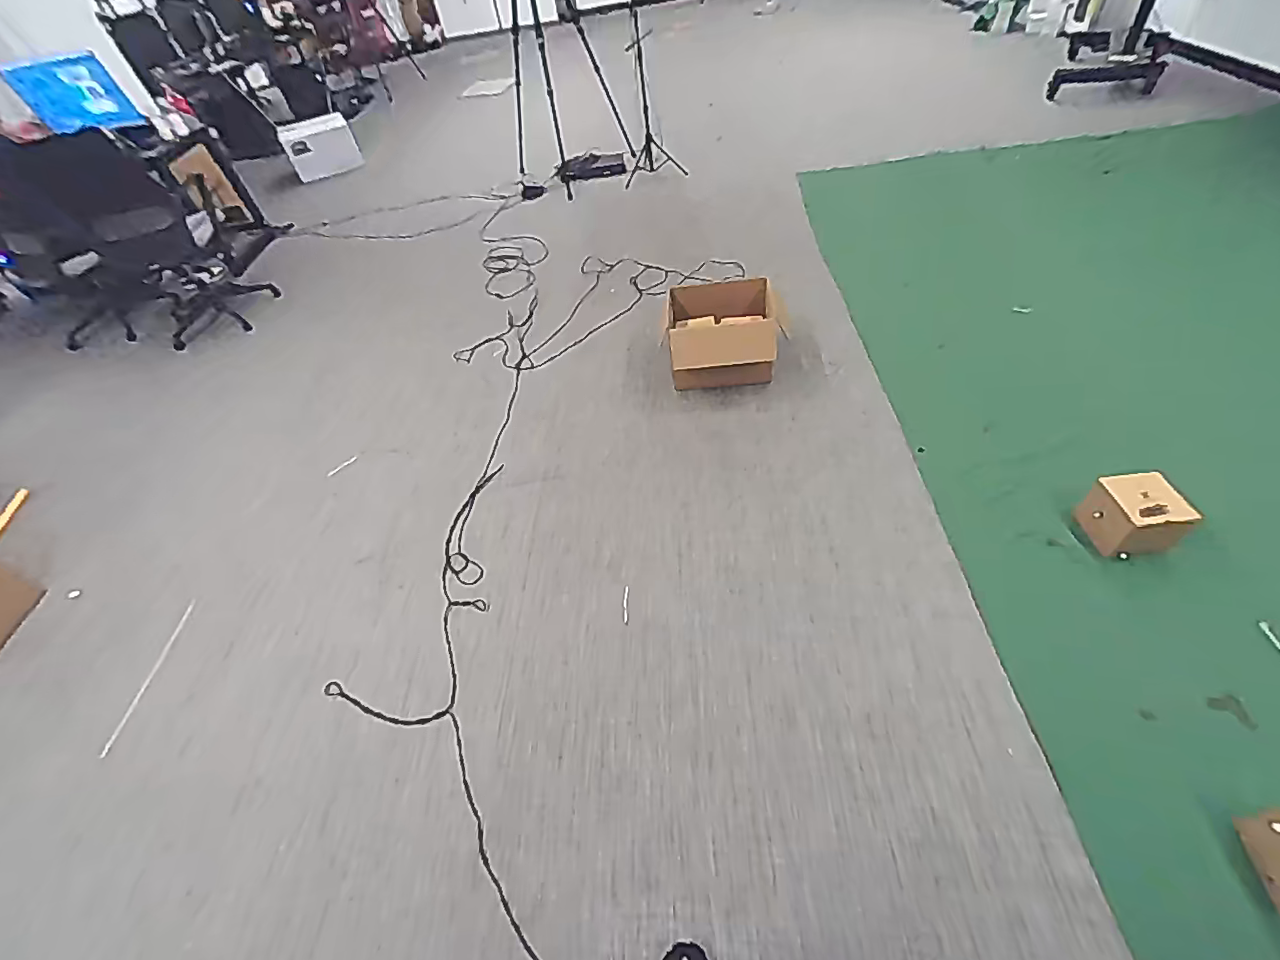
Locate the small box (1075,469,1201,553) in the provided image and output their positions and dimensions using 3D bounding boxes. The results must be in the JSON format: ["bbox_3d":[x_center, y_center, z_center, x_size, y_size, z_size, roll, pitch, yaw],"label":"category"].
[{"bbox_3d":[1.394,0.095,1.529,0.168,0.176,0.179,-6,48,4],"label":"small box"}]
